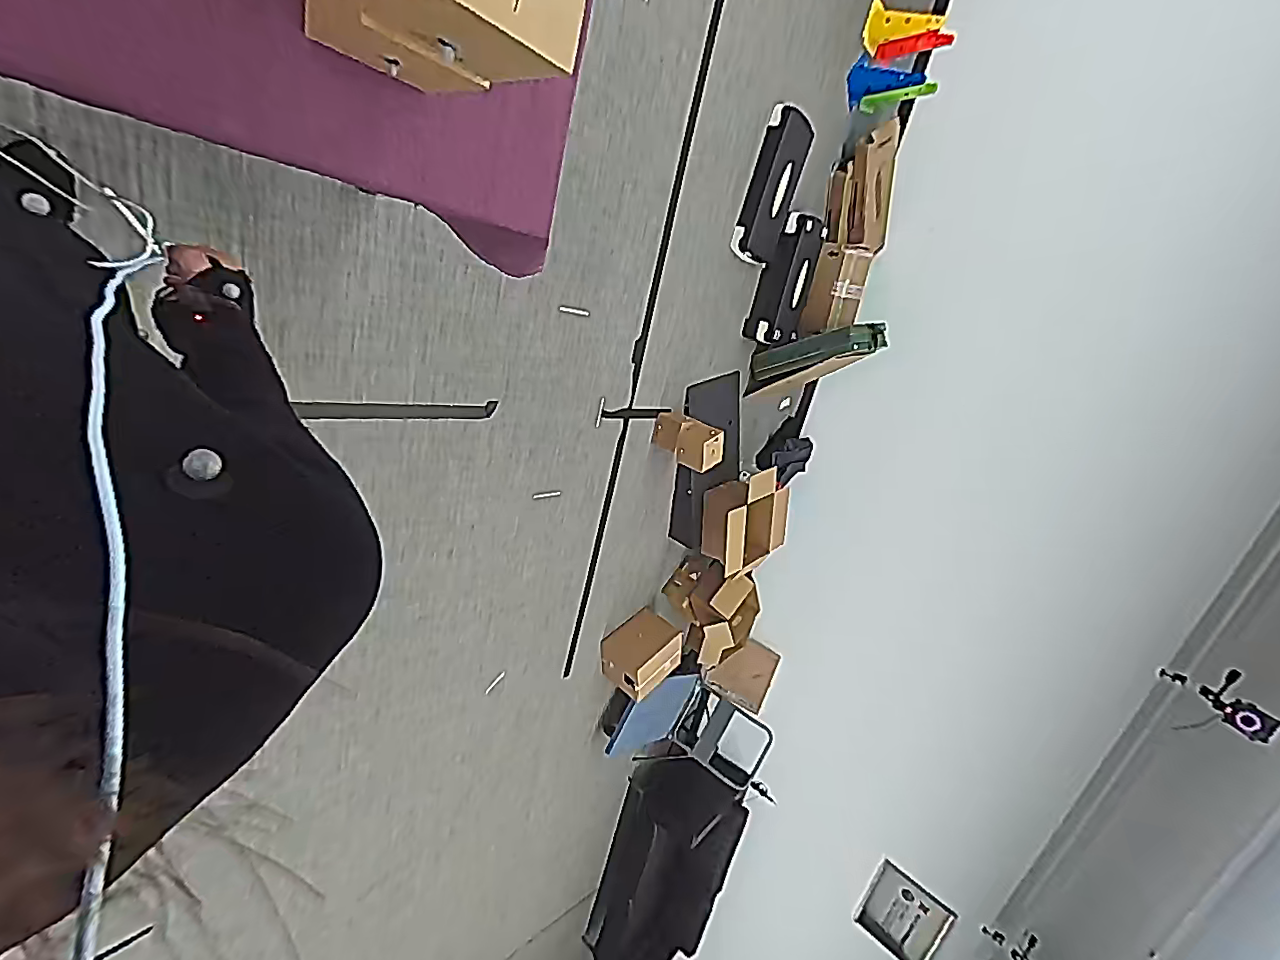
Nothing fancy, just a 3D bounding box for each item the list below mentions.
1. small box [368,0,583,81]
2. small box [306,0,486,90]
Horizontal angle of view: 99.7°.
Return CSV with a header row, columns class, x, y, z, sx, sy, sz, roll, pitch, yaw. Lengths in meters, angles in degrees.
class,x,y,z,sx,sy,sz,roll,pitch,yaw
small box,-0.173,-0.563,0.577,0.168,0.176,0.179,-8,119,-49
small box,-0.295,-0.618,0.672,0.168,0.176,0.179,-9,120,-50
